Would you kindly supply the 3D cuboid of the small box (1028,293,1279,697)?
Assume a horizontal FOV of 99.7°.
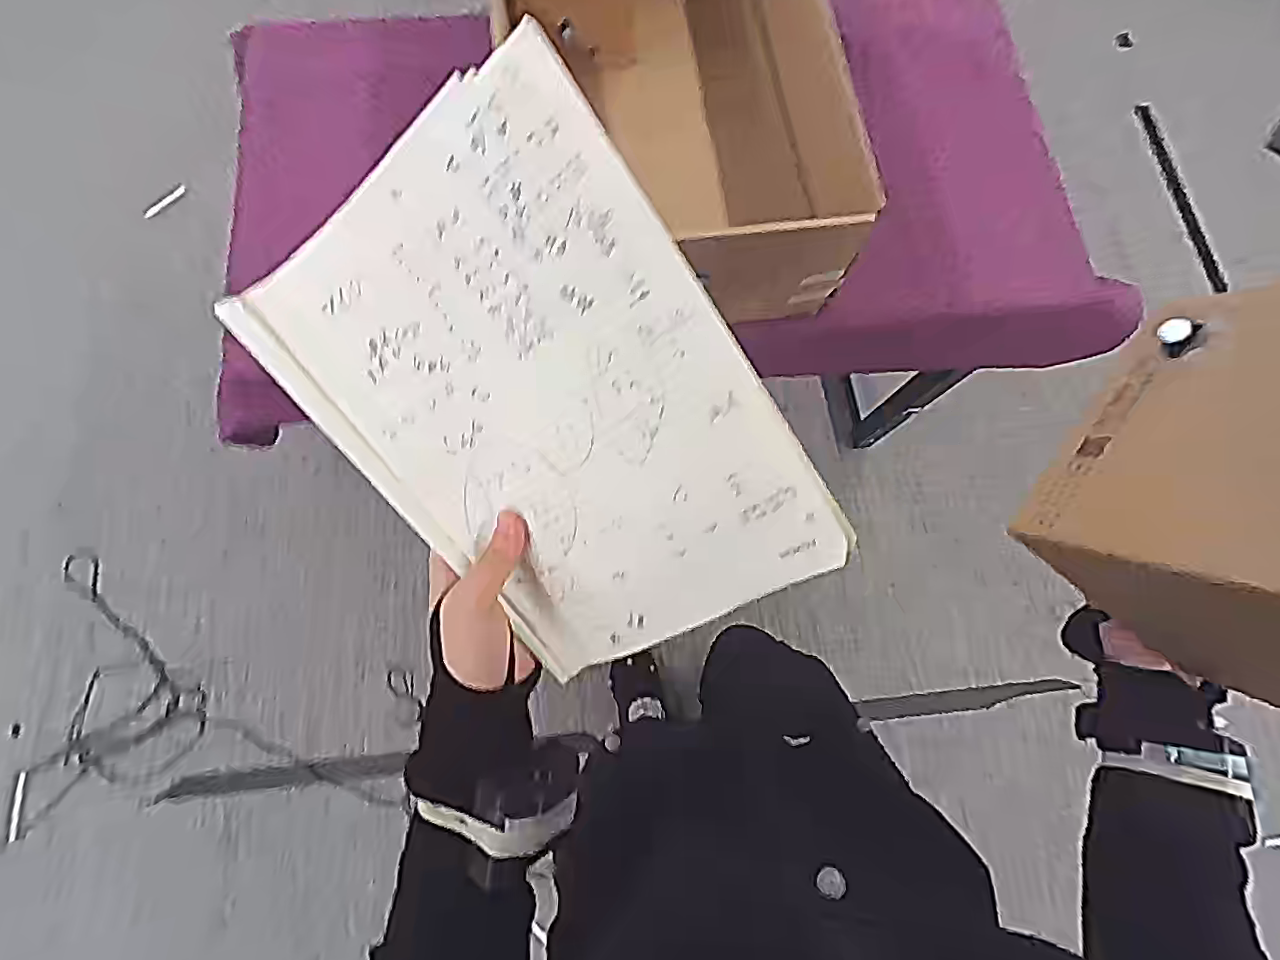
[{"bbox_3d":[0.346,0.017,0.259,0.179,0.176,0.168,34,89,-12],"label":"small box"}]
